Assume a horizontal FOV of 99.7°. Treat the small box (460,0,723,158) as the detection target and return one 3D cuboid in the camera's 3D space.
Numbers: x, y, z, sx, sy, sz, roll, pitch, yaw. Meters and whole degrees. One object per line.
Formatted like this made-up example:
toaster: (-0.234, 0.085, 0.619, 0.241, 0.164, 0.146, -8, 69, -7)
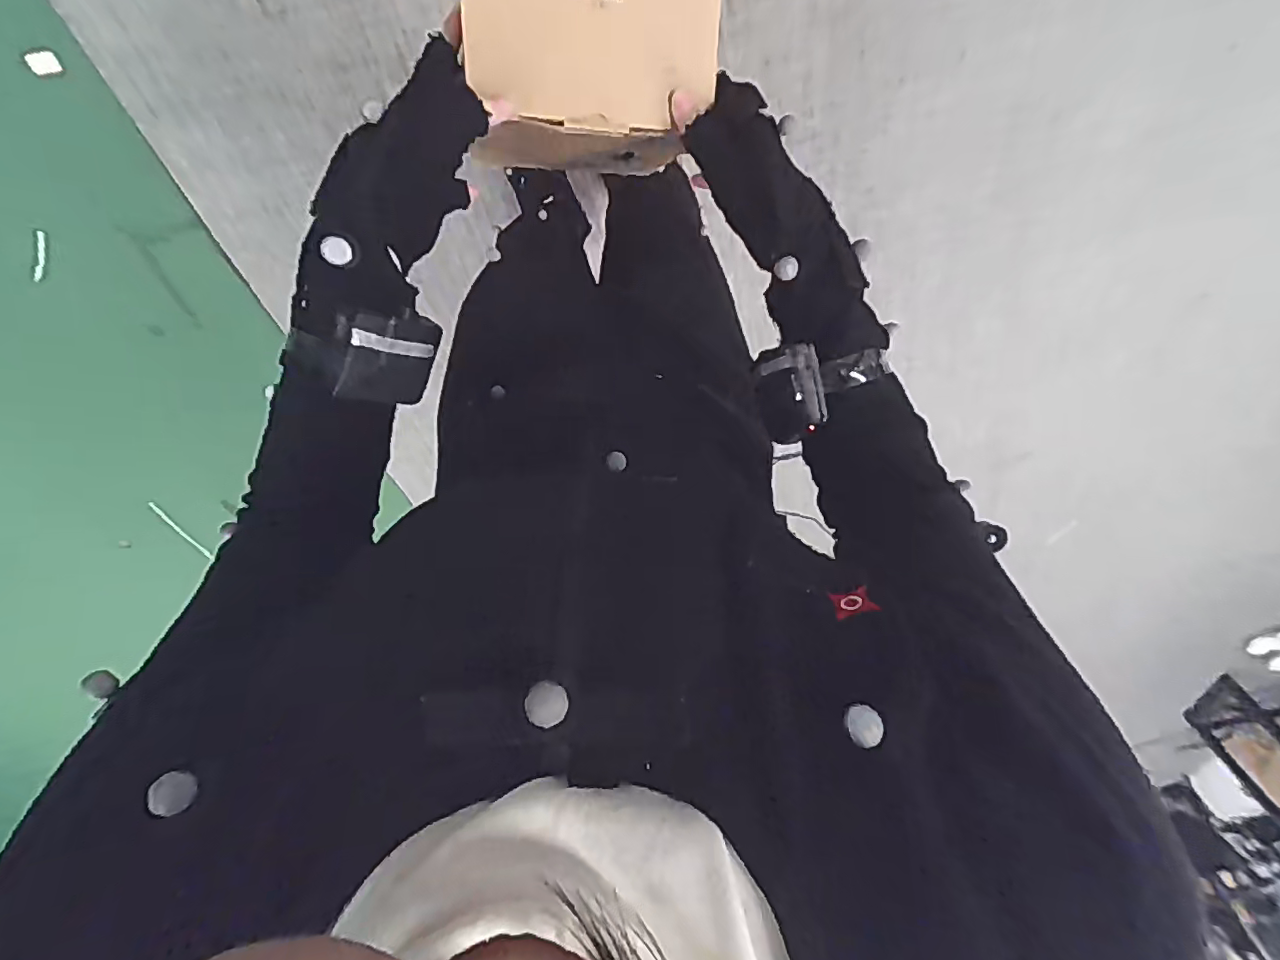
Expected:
small box: (-0.045, -0.344, 0.393, 0.168, 0.176, 0.179, -8, 113, -12)
